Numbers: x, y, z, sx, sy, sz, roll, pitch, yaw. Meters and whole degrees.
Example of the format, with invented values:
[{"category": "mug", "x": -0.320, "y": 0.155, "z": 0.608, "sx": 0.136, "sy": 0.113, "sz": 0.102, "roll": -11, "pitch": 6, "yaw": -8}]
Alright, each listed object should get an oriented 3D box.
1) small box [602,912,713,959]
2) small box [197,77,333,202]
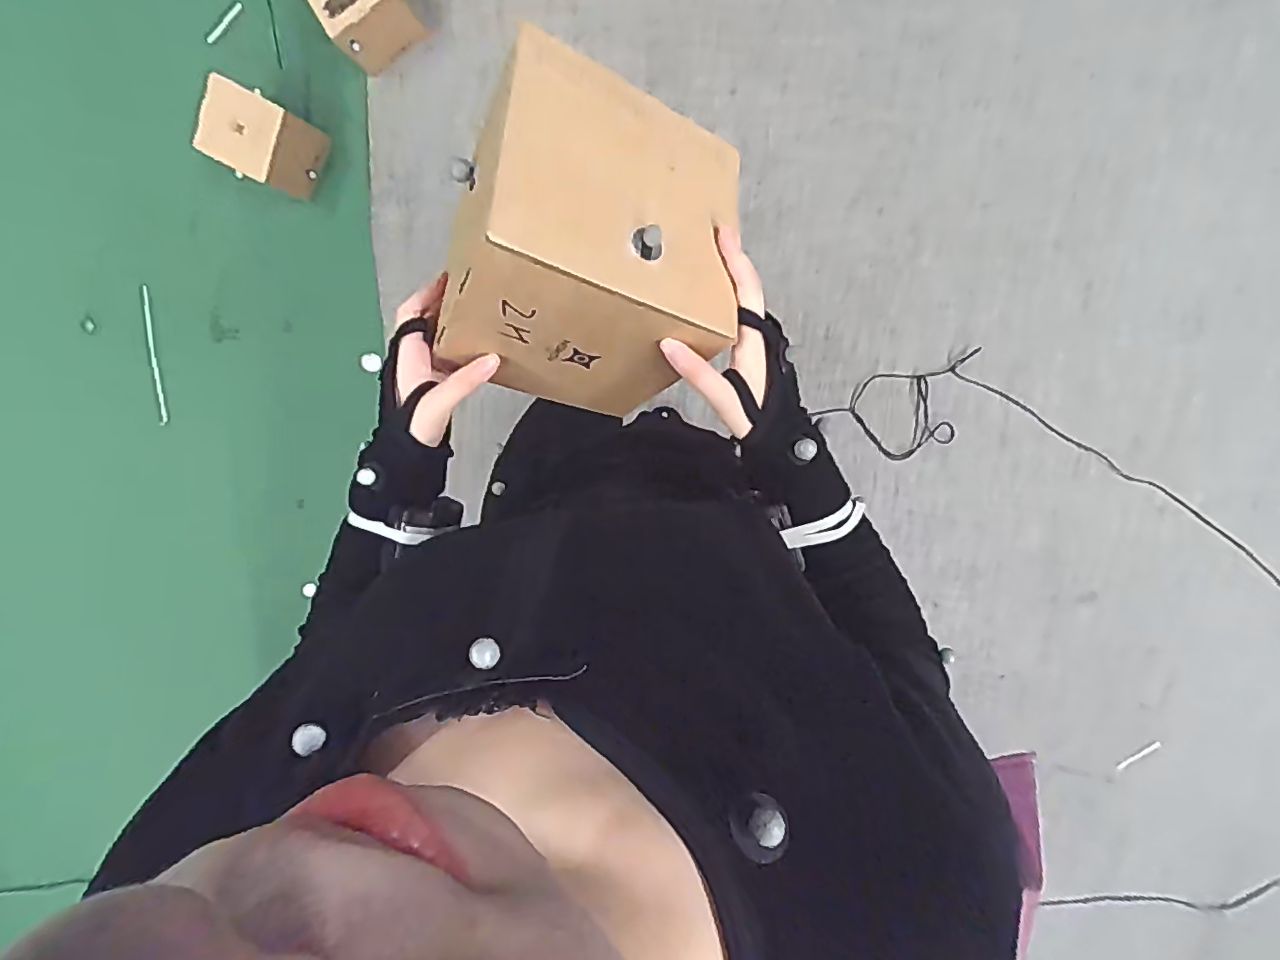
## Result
[{"category": "small box", "x": 0.023, "y": 0.822, "z": 0.844, "sx": 0.179, "sy": 0.176, "sz": 0.168, "roll": 5, "pitch": 104, "yaw": 2}, {"category": "small box", "x": -0.872, "y": -0.786, "z": 1.270, "sx": 0.179, "sy": 0.176, "sz": 0.168, "roll": 28, "pitch": 104, "yaw": -3}]
